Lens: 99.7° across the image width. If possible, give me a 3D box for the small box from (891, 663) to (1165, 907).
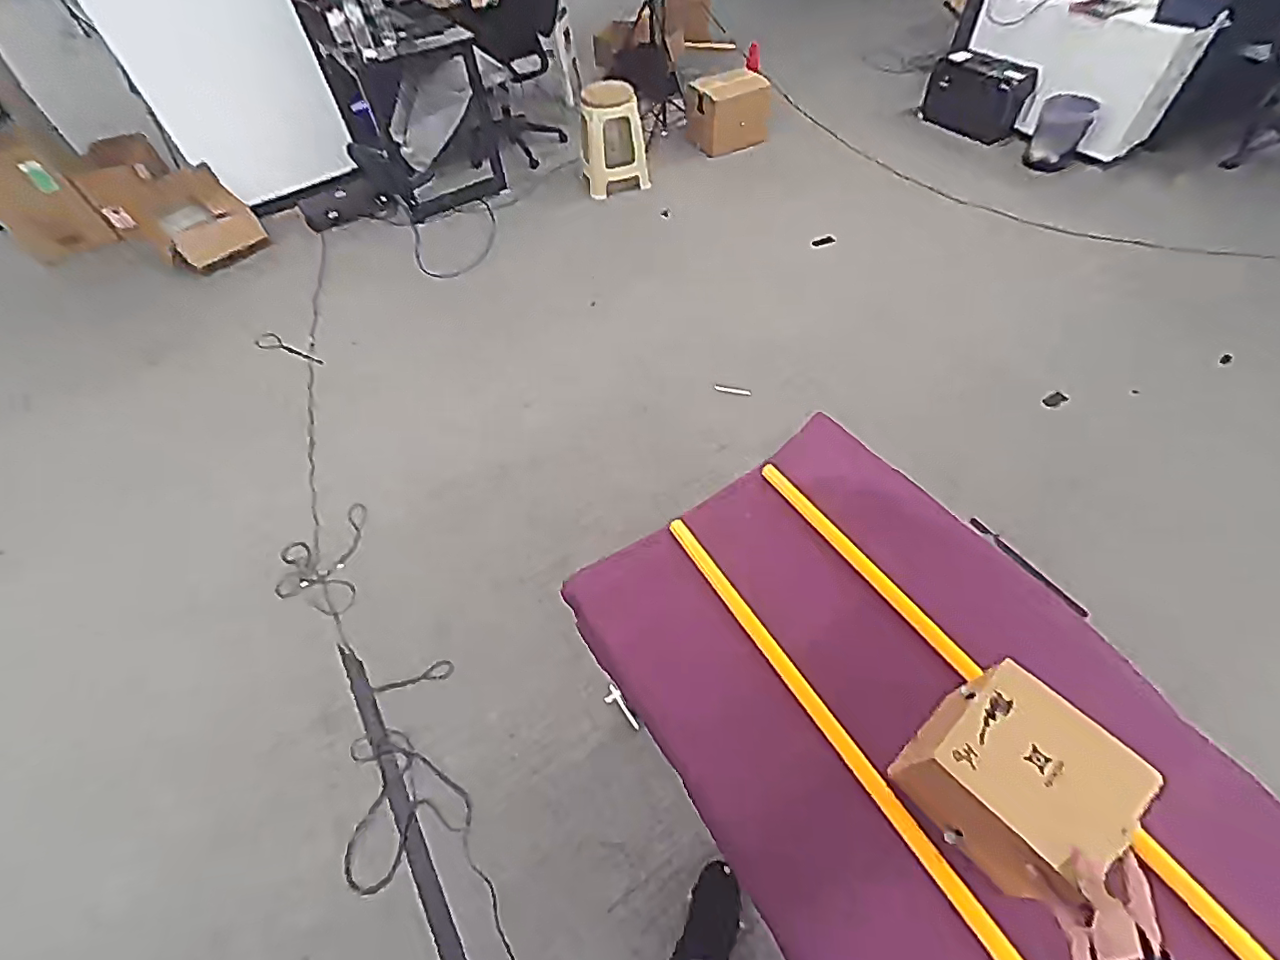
[{"bbox_3d":[0.445,0.358,0.650,0.168,0.176,0.179,-36,61,-19],"label":"small box"}]
